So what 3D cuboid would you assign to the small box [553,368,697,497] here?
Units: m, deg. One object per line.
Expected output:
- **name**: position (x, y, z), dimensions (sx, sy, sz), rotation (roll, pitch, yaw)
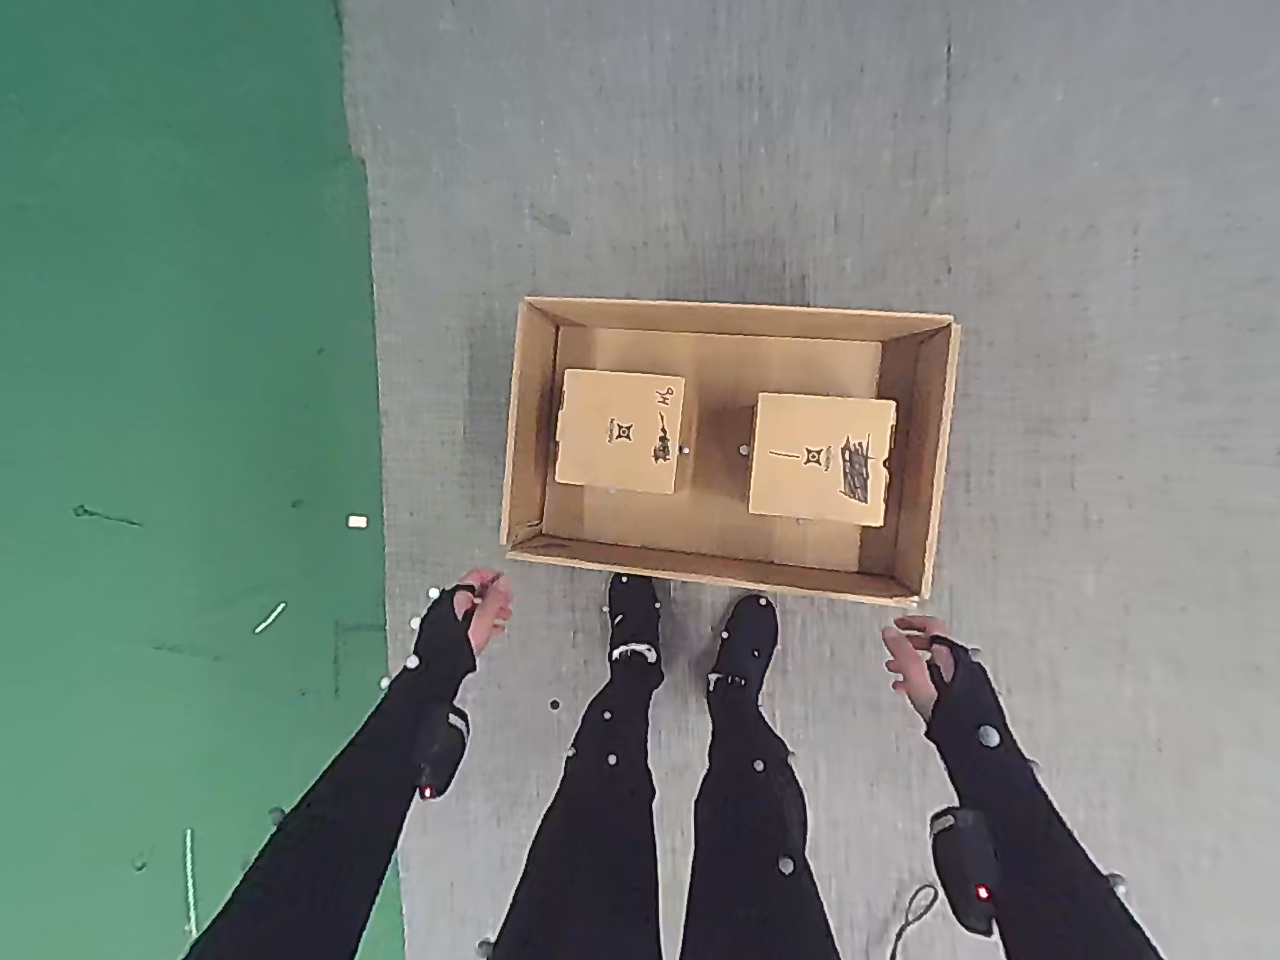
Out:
- **small box**: position (-0.015, -0.068, 0.826), dimensions (0.179, 0.176, 0.168), rotation (7, 92, 10)
